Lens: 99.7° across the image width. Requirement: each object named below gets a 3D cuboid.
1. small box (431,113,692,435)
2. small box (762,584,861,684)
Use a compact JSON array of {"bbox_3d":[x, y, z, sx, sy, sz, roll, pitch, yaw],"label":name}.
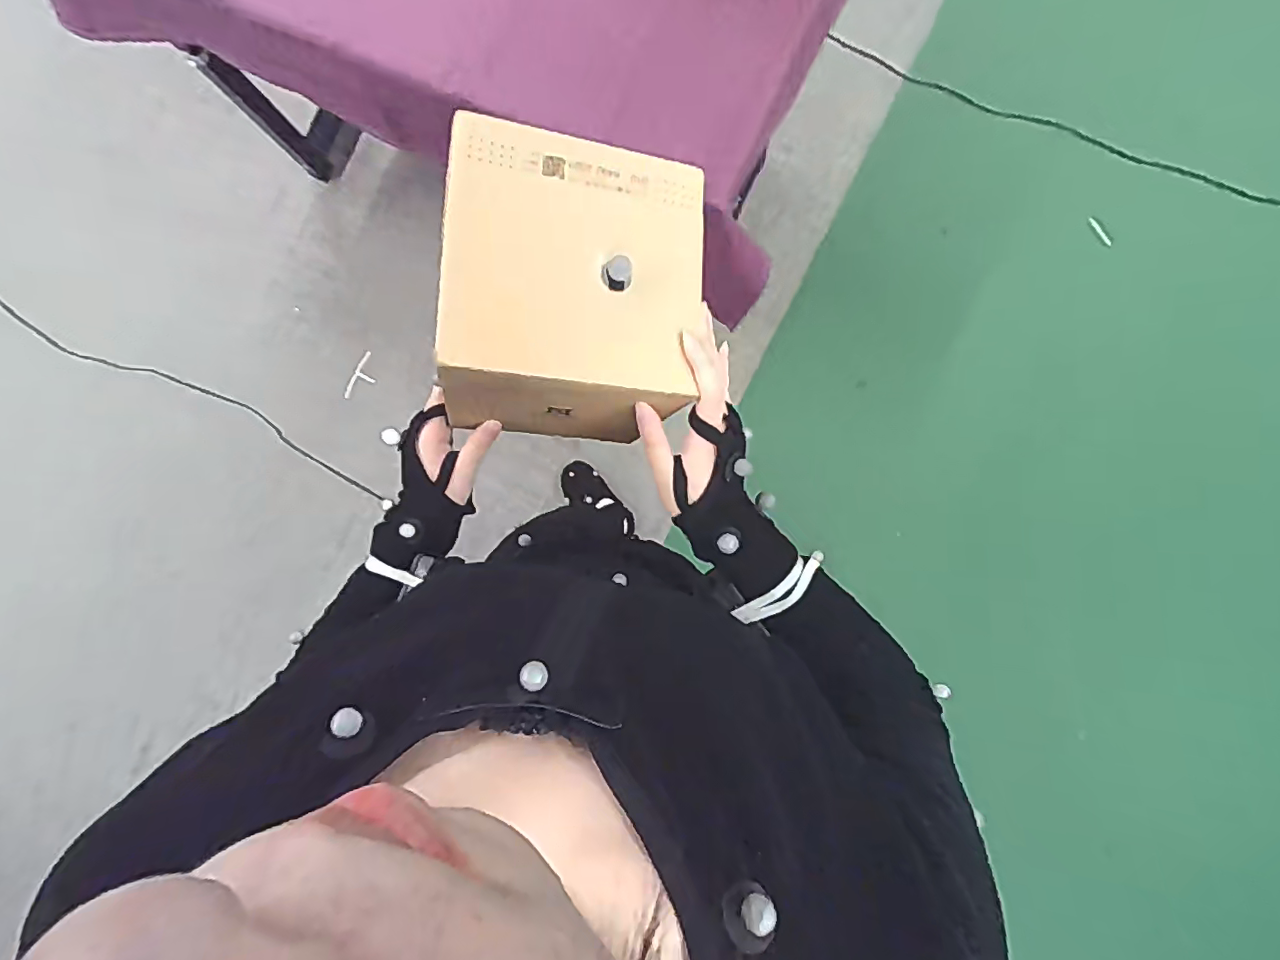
[{"bbox_3d":[-0.067,-0.139,0.423,0.168,0.179,0.176,4,82,-15],"label":"small box"},{"bbox_3d":[0.436,0.393,1.412,0.168,0.176,0.179,30,88,1],"label":"small box"}]
